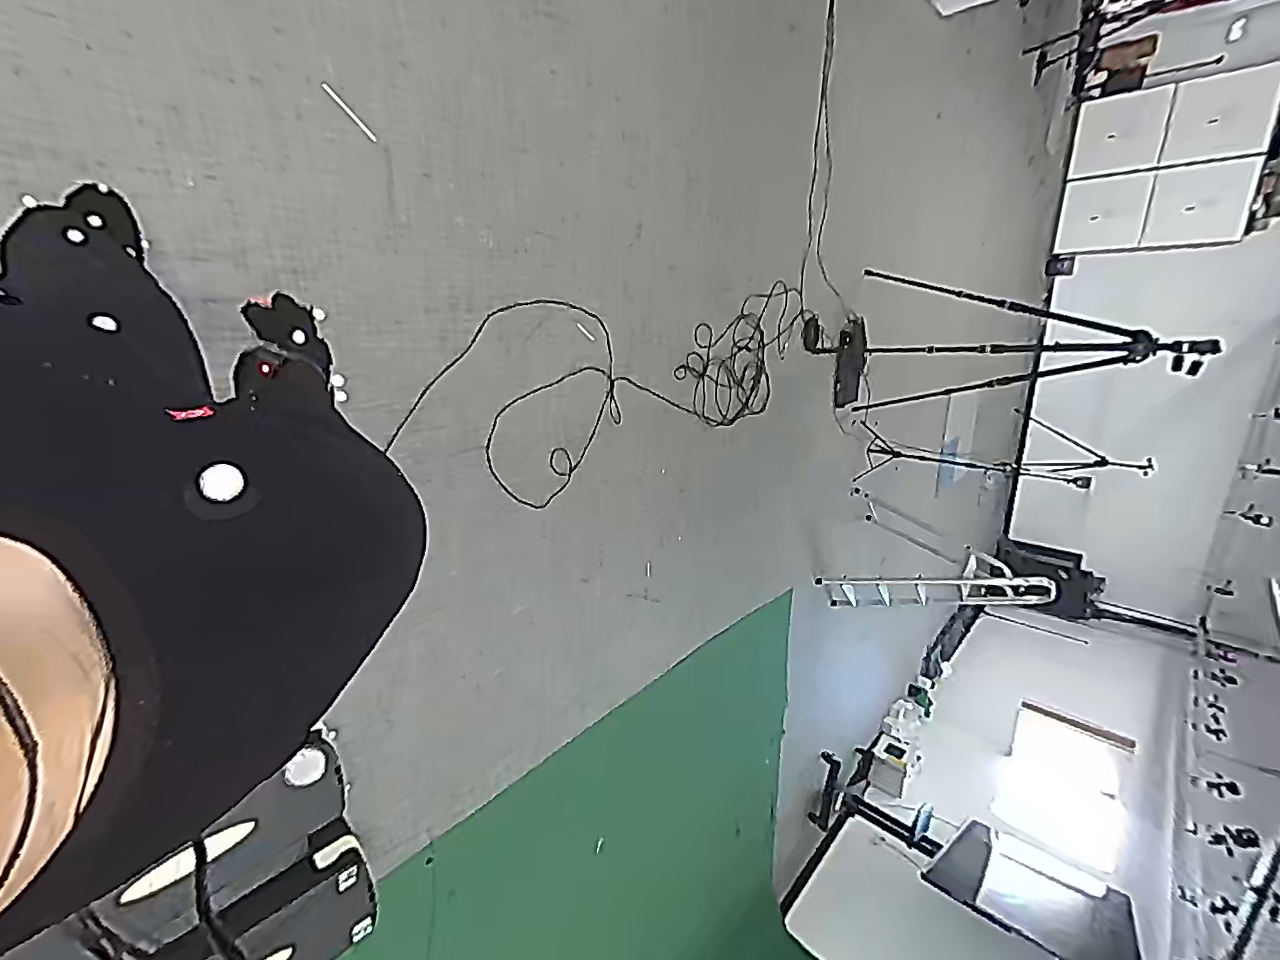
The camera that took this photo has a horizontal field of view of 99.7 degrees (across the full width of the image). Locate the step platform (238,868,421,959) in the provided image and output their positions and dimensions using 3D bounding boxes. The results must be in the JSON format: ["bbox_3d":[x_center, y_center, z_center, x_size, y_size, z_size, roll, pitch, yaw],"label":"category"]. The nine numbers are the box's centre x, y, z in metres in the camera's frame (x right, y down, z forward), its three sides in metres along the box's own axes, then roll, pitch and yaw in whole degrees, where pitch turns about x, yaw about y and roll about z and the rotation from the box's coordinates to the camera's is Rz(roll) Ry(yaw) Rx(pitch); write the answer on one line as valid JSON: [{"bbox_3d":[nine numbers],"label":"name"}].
[{"bbox_3d":[-0.881,1.267,1.244,0.684,0.204,0.286,-20,114,-44],"label":"step platform"}]
